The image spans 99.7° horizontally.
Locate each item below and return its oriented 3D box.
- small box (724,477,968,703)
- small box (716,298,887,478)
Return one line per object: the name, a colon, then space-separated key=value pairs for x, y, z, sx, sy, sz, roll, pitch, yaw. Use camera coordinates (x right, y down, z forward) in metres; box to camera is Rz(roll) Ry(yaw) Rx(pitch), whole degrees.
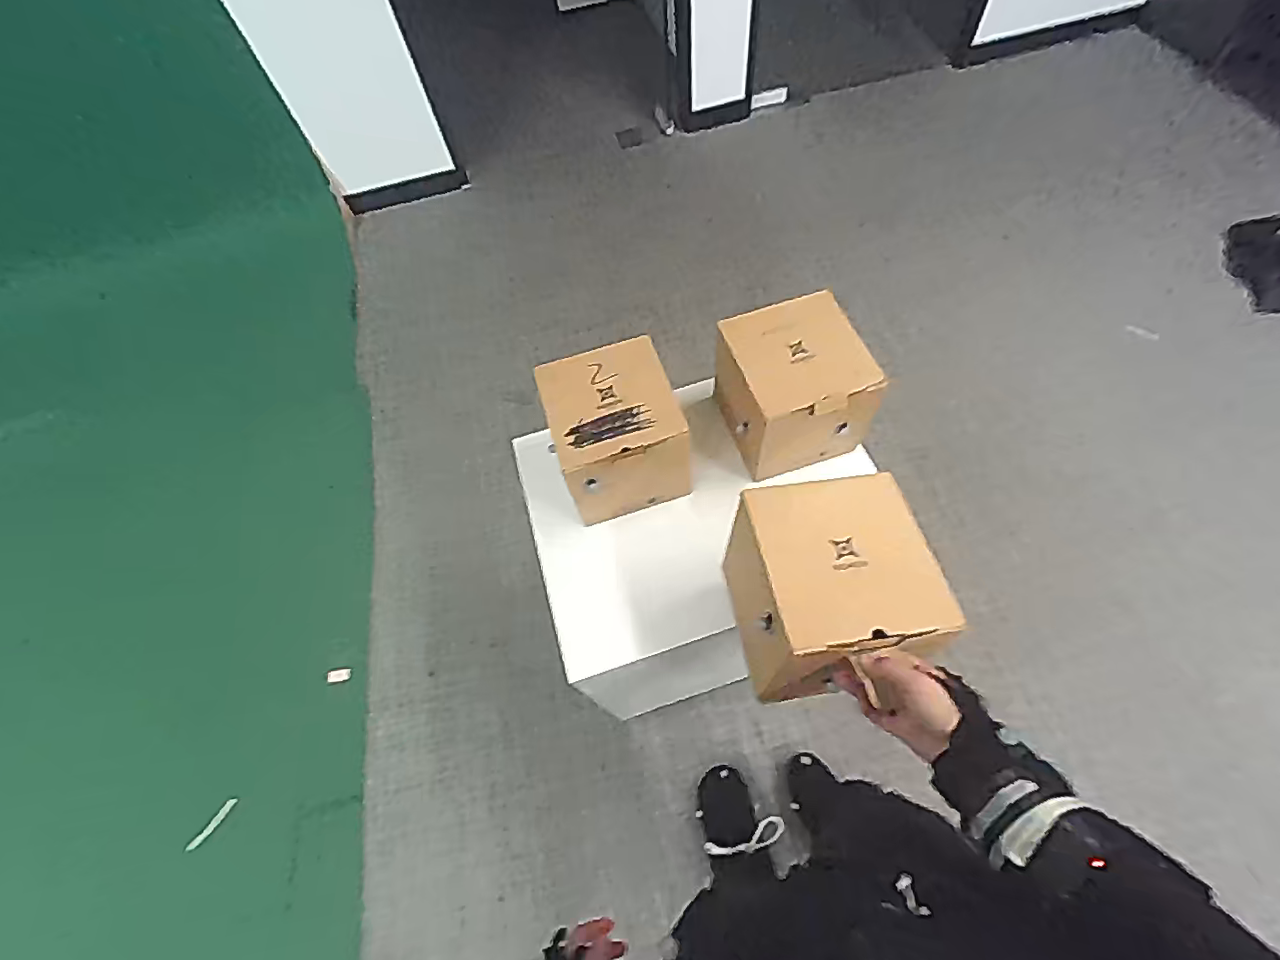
small box: x=0.197 y=0.120 z=0.584 sx=0.168 sy=0.176 sz=0.179 roll=-7 pitch=54 yaw=-6
small box: x=0.215 y=-0.121 z=0.775 sx=0.168 sy=0.176 sz=0.179 roll=-17 pitch=60 yaw=-4
